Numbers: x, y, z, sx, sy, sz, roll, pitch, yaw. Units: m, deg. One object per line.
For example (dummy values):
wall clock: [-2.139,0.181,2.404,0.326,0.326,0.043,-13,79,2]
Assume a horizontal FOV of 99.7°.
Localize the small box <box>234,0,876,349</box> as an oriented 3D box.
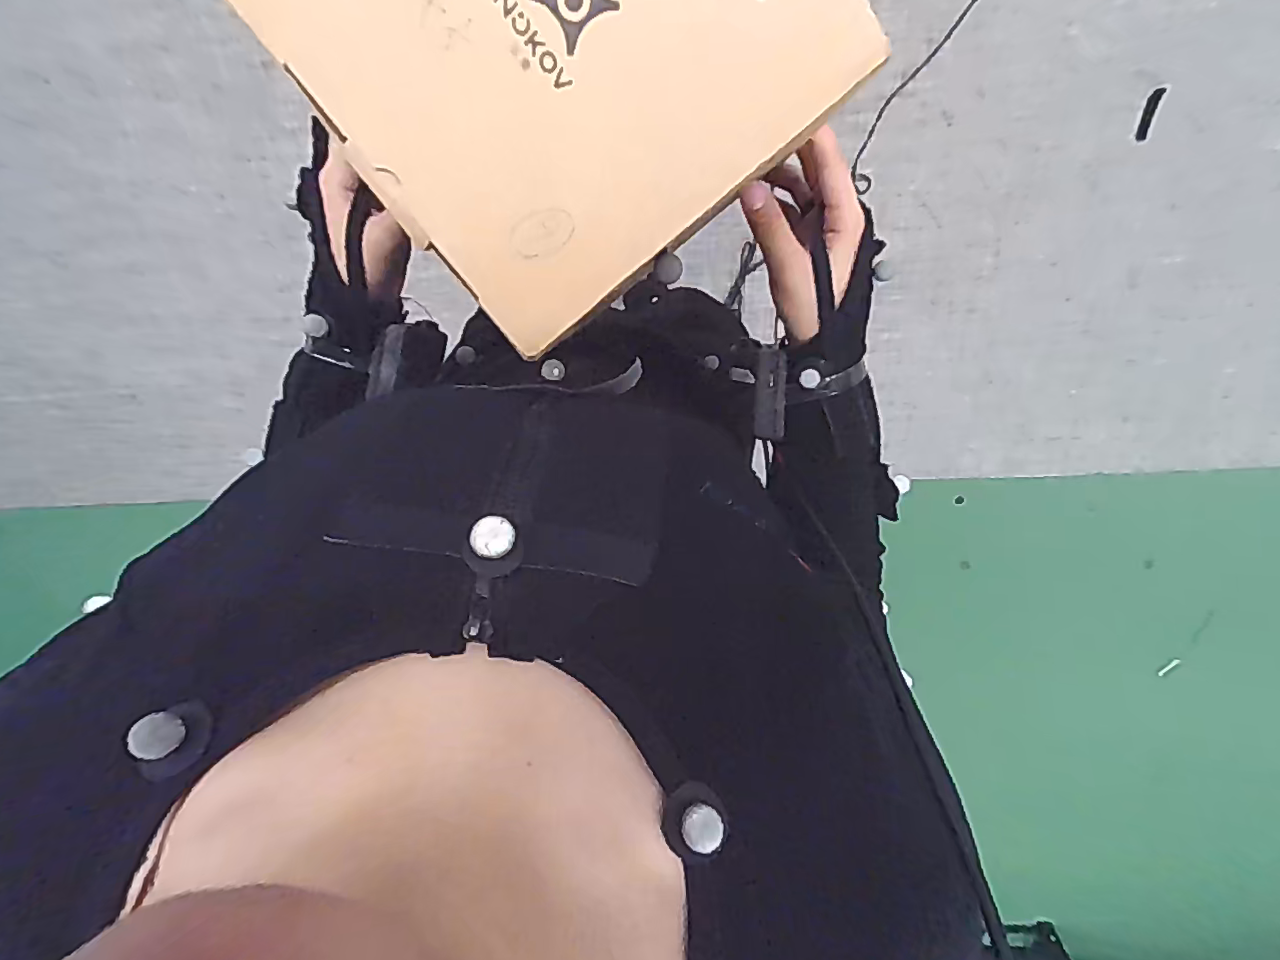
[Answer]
small box: [-0.027,-0.188,0.265,0.179,0.176,0.168,-35,105,14]
